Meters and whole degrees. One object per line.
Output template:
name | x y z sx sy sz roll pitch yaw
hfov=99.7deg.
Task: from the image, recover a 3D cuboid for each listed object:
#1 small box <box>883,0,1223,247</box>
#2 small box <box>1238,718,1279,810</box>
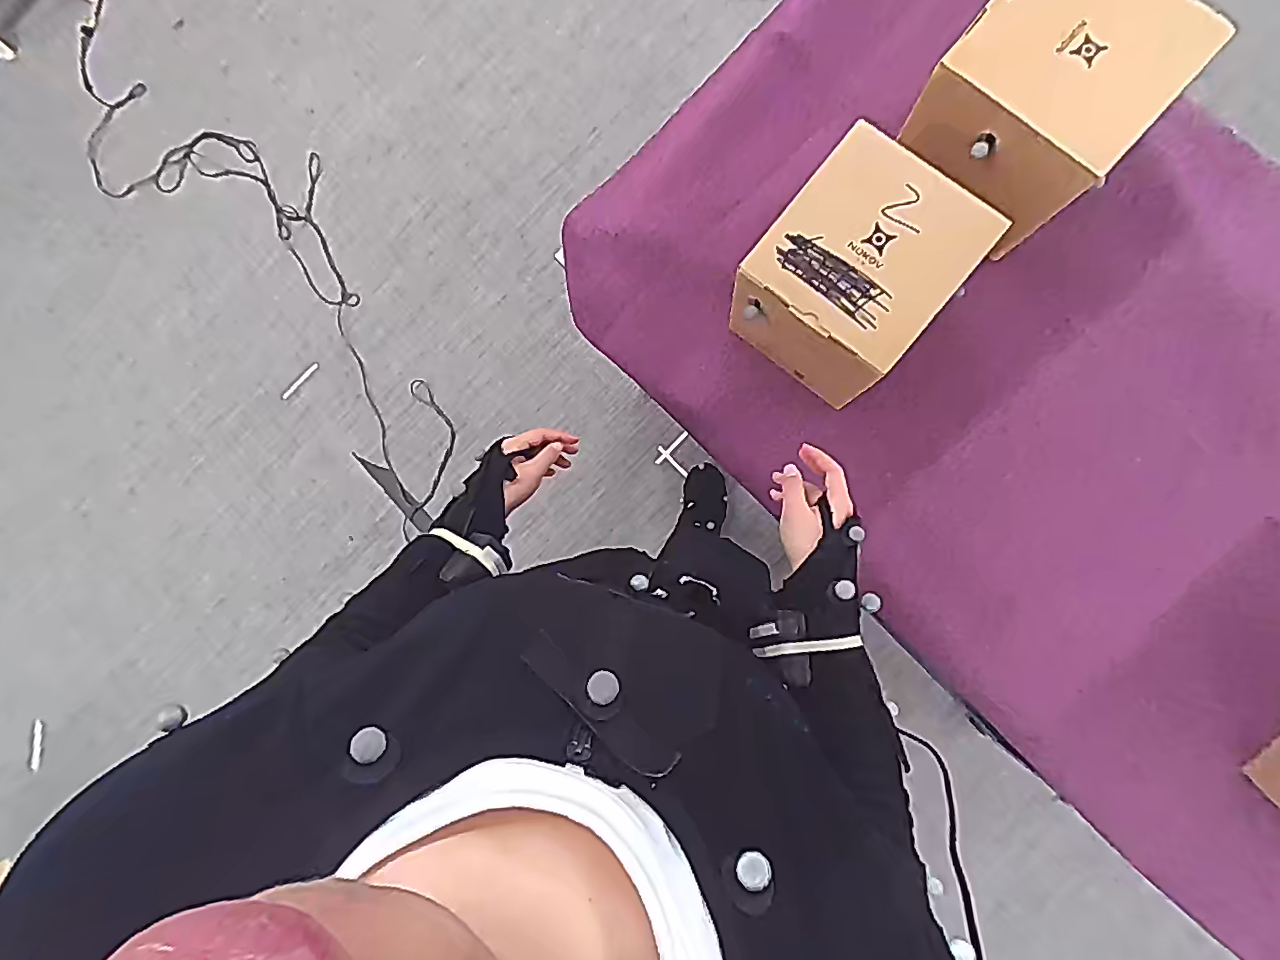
small box | 0.392 -0.372 0.554 0.179 0.176 0.168 42 92 6
small box | 0.737 0.303 0.483 0.168 0.176 0.179 -42 83 1
